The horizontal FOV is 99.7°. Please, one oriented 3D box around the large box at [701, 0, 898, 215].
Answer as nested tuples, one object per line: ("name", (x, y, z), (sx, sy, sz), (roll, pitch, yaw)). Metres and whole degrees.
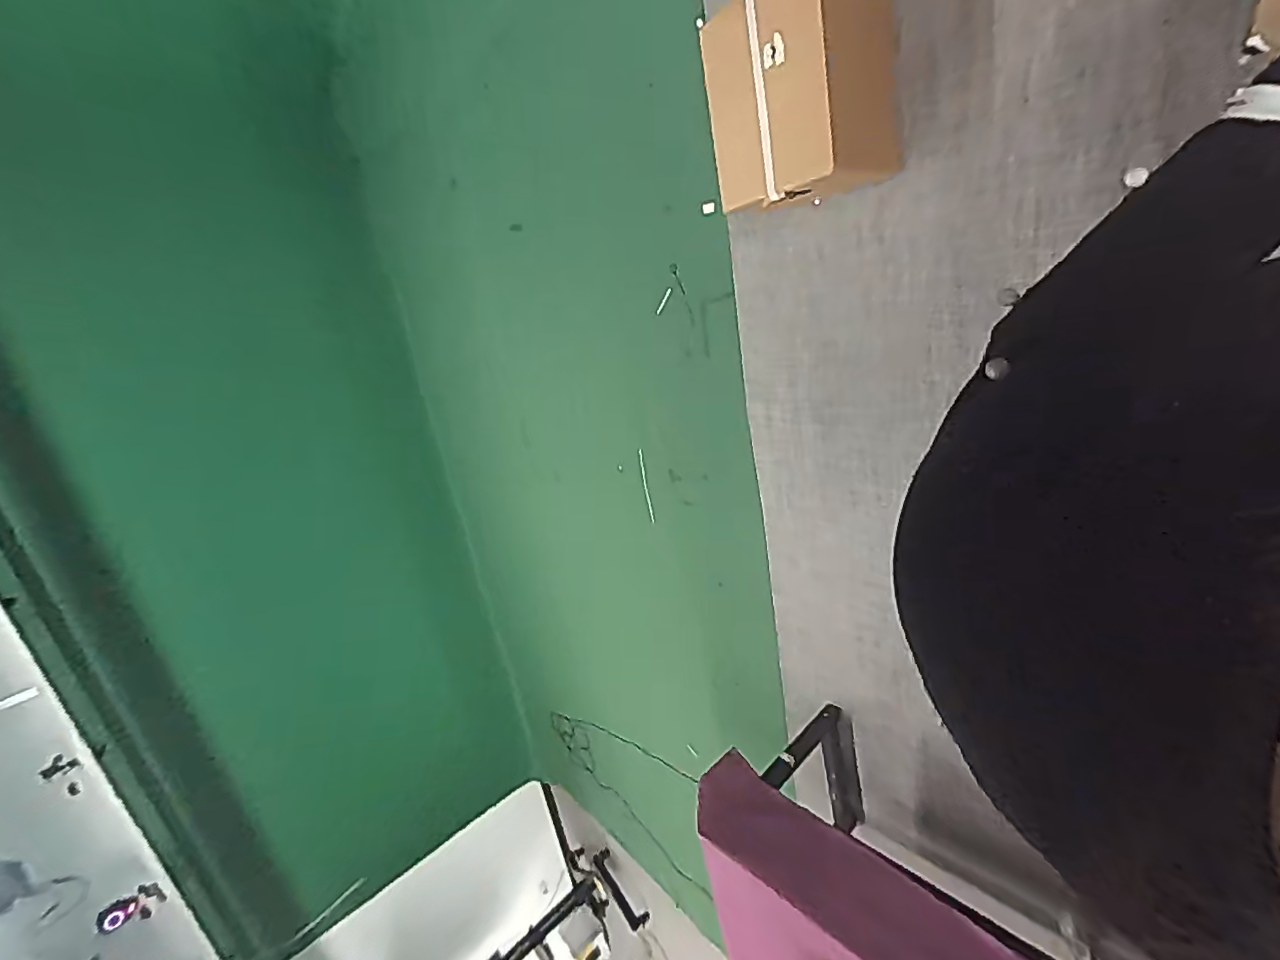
("large box", (0.385, -0.890, 1.288), (0.320, 0.320, 0.408), (9, 115, 49))
